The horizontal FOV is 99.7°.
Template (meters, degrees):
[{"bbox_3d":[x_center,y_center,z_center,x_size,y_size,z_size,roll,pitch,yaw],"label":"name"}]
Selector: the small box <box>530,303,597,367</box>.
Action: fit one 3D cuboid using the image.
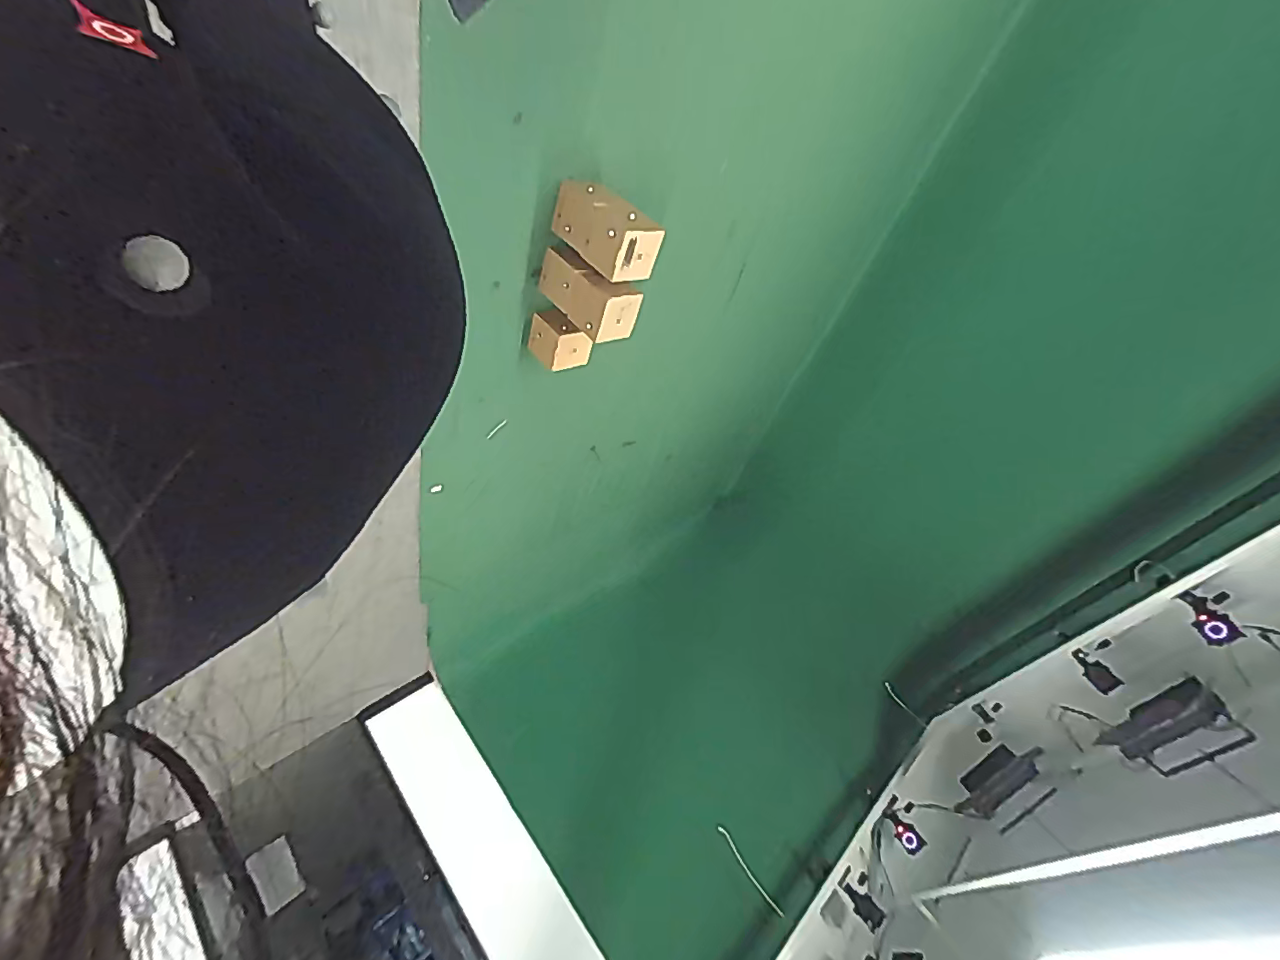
[{"bbox_3d":[-0.299,-0.569,2.100,0.179,0.176,0.168,-24,150,-37],"label":"small box"}]
